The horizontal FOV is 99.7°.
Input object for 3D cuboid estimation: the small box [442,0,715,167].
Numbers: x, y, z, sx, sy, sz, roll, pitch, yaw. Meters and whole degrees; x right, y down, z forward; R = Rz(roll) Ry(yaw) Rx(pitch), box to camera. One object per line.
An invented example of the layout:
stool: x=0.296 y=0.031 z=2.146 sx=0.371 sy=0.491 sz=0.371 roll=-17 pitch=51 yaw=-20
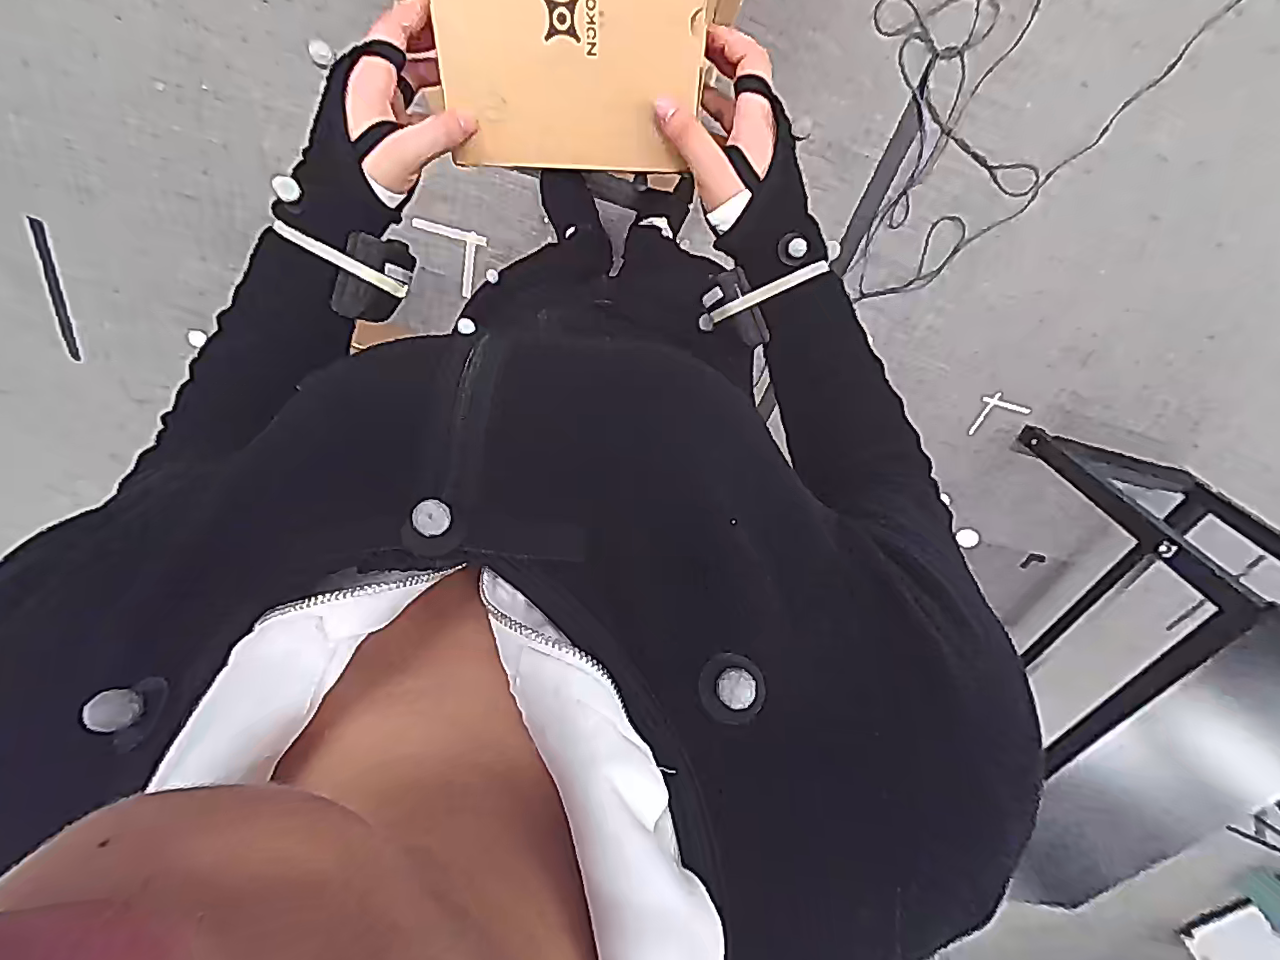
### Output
small box: x=-0.039 y=-0.343 z=0.412 sx=0.179 sy=0.176 sz=0.168 roll=2 pitch=125 yaw=-2
